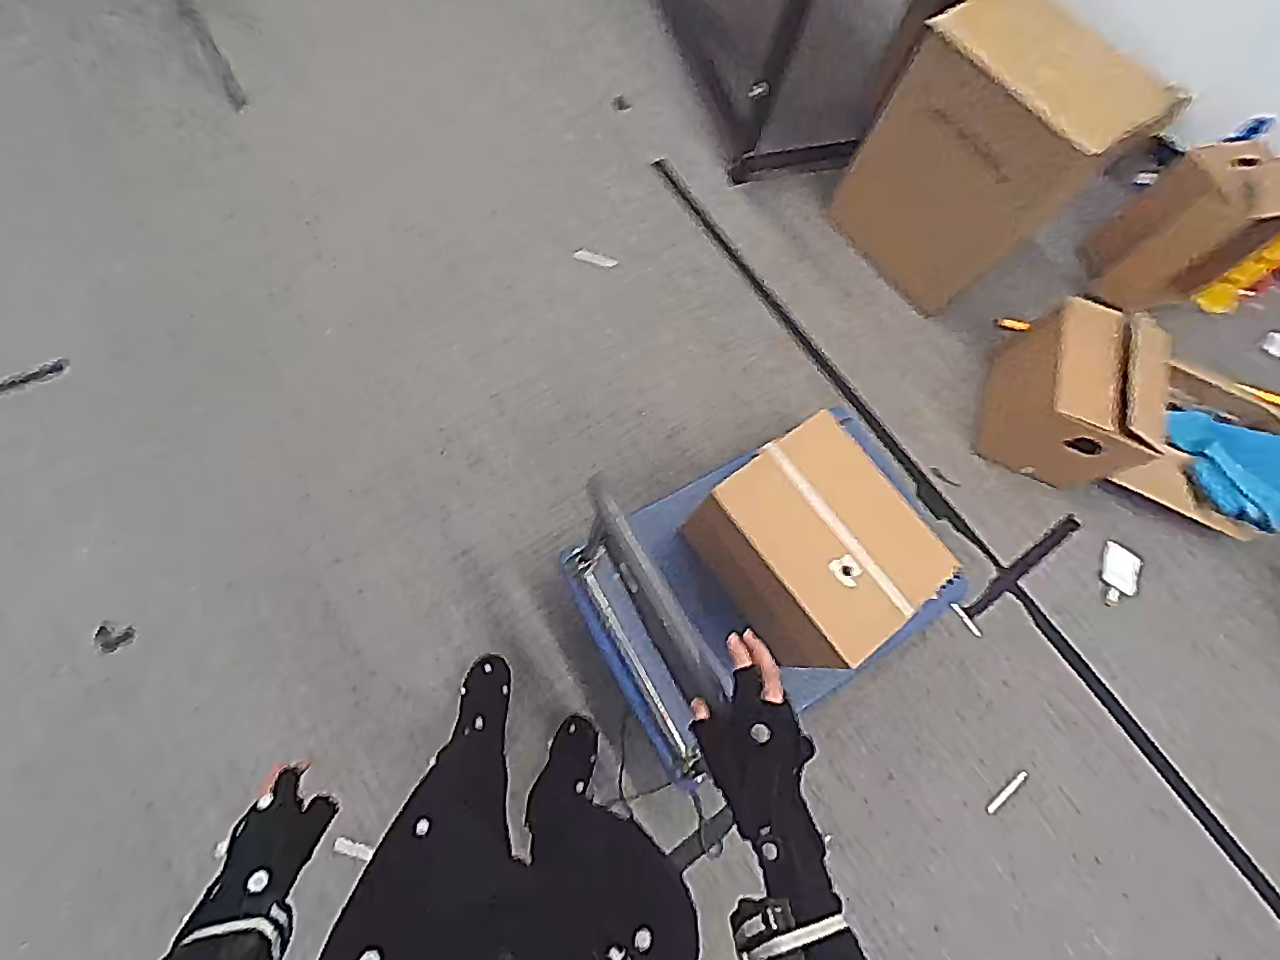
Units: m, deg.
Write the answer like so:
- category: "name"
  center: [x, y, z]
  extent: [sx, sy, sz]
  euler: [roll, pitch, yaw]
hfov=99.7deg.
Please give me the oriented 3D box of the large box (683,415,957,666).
- category: "large box"
  center: [0.355, 0.143, 1.171]
  extent: [0.320, 0.320, 0.408]
  euler: [-34, 80, -16]
